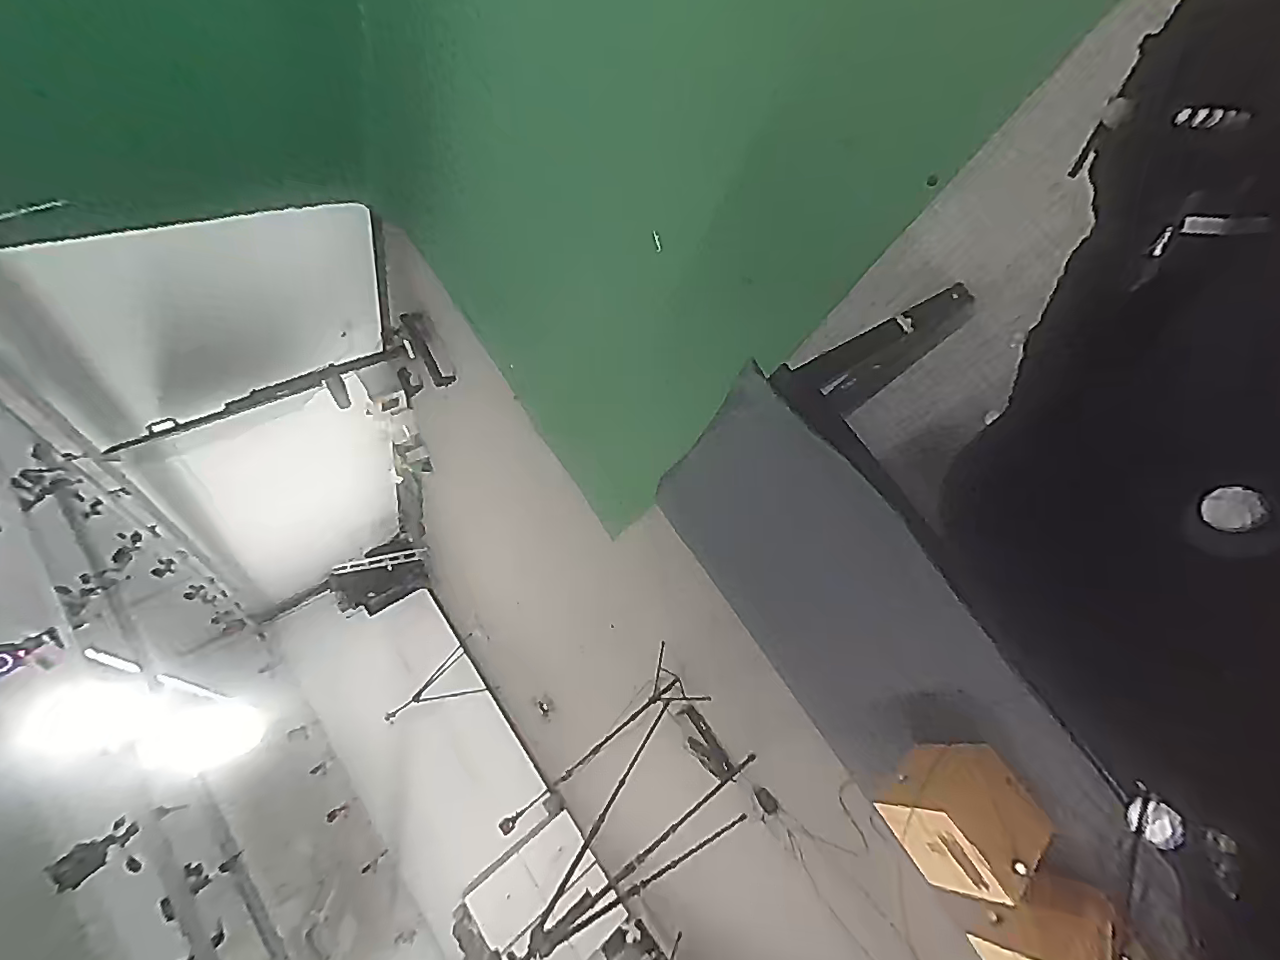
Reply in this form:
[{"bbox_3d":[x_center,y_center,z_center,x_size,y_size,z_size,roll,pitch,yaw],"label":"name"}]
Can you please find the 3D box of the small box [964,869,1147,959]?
[{"bbox_3d":[0.712,0.810,0.920,0.168,0.176,0.179,56,150,8],"label":"small box"}]
